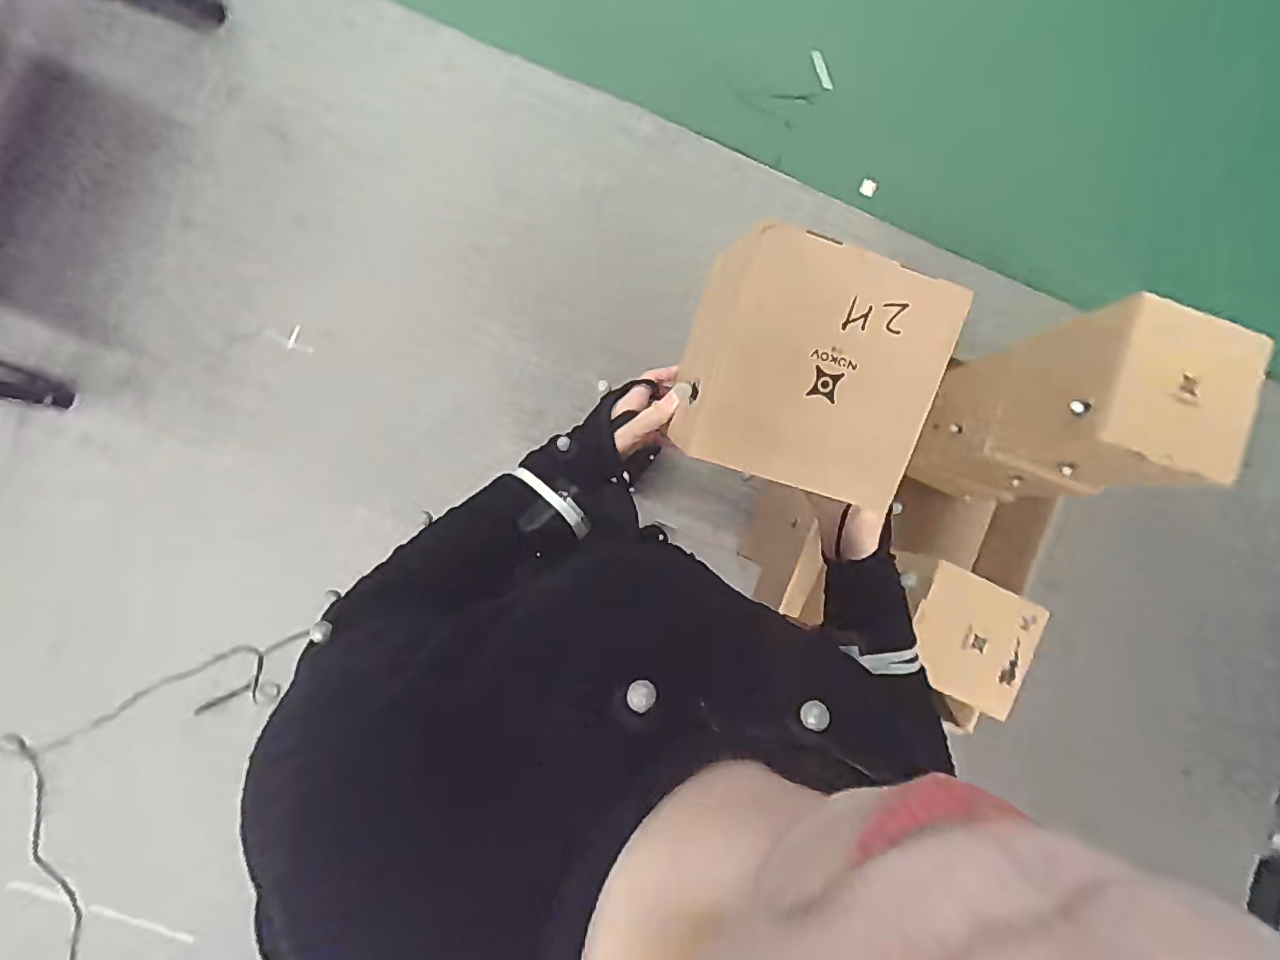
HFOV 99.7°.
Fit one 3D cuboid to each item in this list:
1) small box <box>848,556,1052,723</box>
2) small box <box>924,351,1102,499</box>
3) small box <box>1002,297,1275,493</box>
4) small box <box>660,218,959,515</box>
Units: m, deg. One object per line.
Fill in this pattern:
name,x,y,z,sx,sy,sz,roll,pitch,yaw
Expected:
small box,0.446,0.223,0.809,0.179,0.176,0.168,26,87,-2
small box,0.578,-0.073,0.830,0.179,0.176,0.168,20,87,-4
small box,0.595,-0.092,0.669,0.168,0.176,0.179,18,88,-3
small box,0.121,-0.091,0.467,0.168,0.176,0.179,15,100,-8
